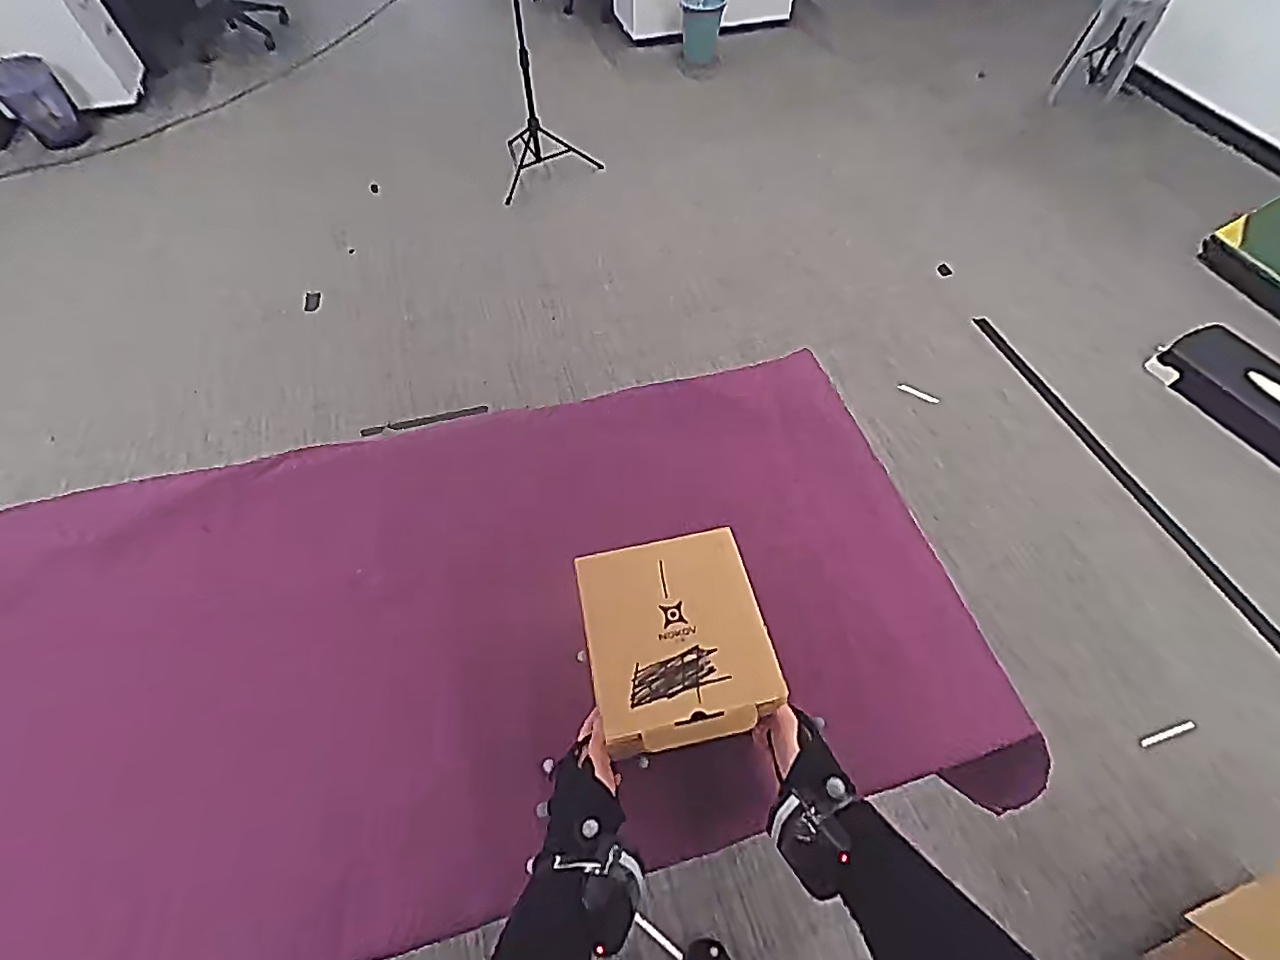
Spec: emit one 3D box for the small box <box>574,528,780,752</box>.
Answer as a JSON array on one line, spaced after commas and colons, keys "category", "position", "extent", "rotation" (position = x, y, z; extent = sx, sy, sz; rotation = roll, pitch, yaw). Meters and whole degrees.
[{"category": "small box", "position": [0.030, 0.178, 0.575], "extent": [0.168, 0.176, 0.179], "rotation": [-10, 57, -6]}]
